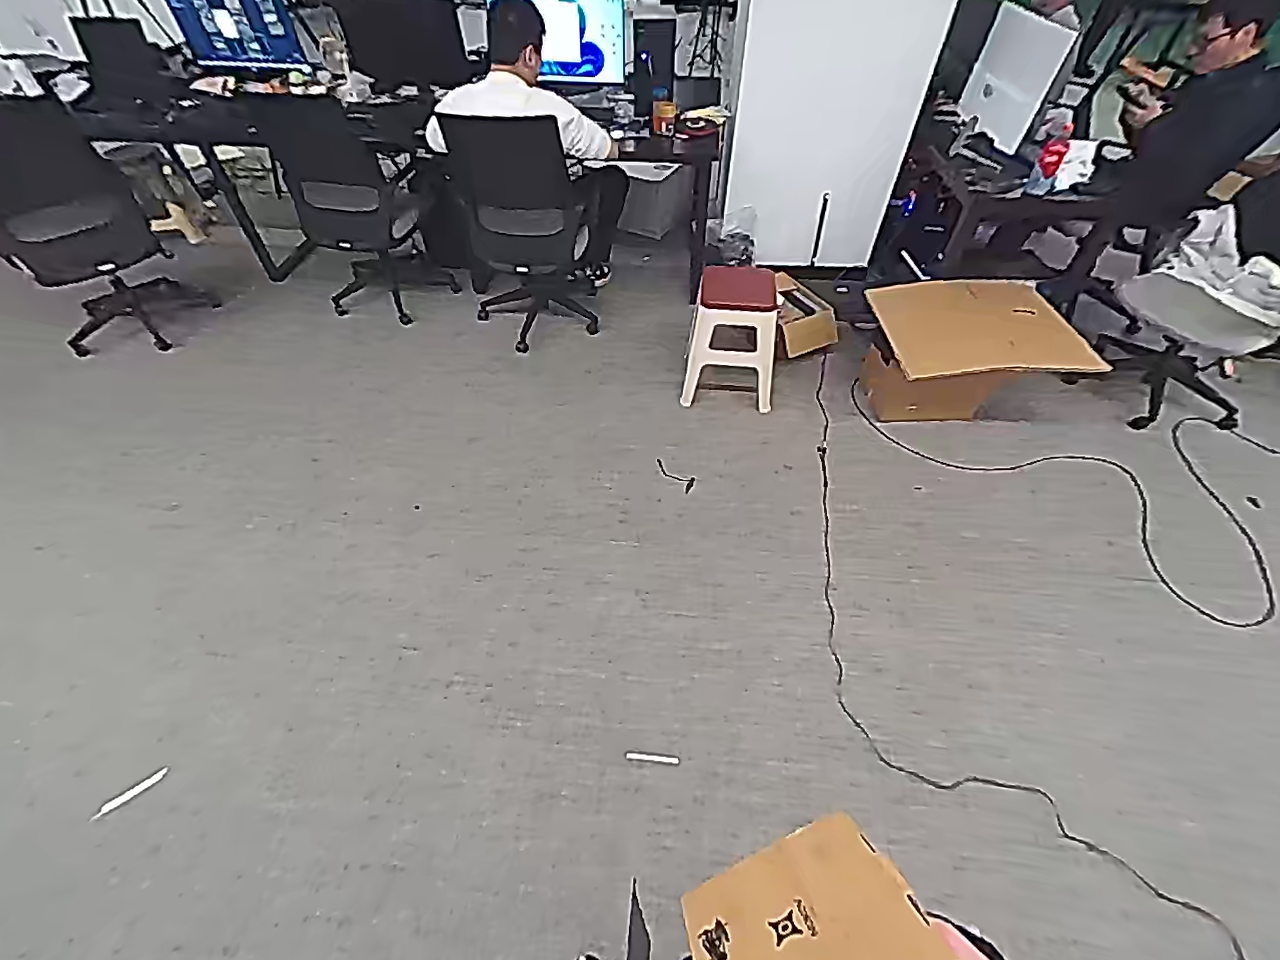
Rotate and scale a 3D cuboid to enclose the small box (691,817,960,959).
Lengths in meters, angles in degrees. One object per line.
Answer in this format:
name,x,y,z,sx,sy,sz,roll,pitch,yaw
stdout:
small box,0.164,0.433,0.440,0.179,0.168,0.176,-24,91,-5
